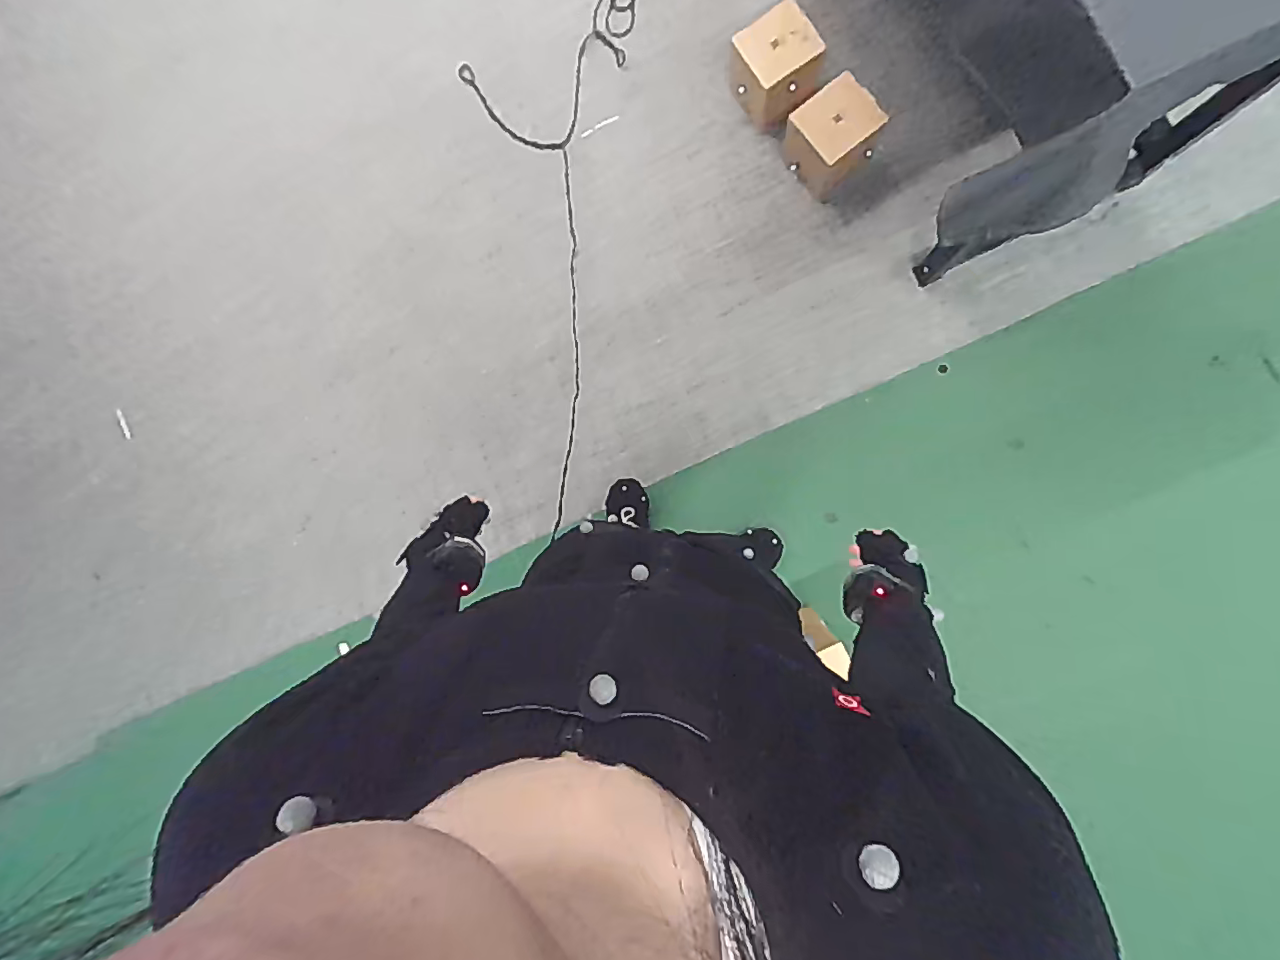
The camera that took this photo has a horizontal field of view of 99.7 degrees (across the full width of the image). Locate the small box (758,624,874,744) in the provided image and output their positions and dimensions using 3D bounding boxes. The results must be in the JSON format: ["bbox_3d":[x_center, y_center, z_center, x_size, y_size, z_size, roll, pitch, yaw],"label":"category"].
[{"bbox_3d":[0.381,0.445,1.207,0.179,0.176,0.168,-27,87,6],"label":"small box"}]

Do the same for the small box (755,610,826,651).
[{"bbox_3d":[0.404,0.444,1.369,0.168,0.176,0.179,-26,85,6],"label":"small box"}]

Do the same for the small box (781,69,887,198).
[{"bbox_3d":[0.480,-0.866,1.369,0.179,0.176,0.168,-37,85,5],"label":"small box"}]
